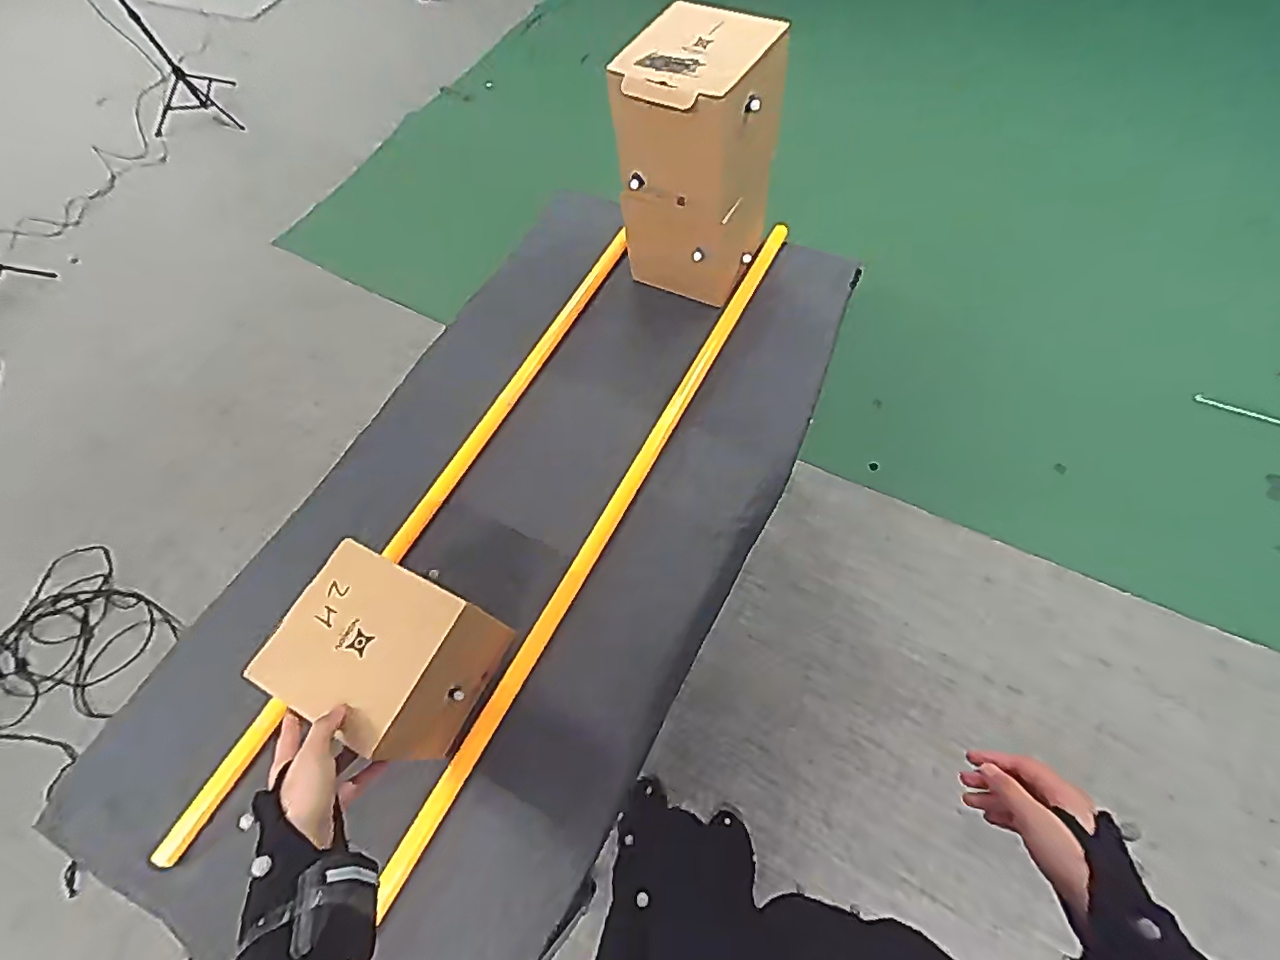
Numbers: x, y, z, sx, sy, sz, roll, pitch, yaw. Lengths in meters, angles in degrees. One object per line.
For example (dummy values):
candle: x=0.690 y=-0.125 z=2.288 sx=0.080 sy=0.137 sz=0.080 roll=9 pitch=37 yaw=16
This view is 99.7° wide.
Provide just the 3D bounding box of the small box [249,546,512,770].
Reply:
small box: x=-0.275 y=0.204 z=0.620 sx=0.179 sy=0.176 sz=0.168 roll=22 pitch=68 yaw=17

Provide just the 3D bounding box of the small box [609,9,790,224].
small box: x=0.083 y=-0.487 z=0.737 sx=0.168 sy=0.176 sz=0.179 roll=29 pitch=70 yaw=18
